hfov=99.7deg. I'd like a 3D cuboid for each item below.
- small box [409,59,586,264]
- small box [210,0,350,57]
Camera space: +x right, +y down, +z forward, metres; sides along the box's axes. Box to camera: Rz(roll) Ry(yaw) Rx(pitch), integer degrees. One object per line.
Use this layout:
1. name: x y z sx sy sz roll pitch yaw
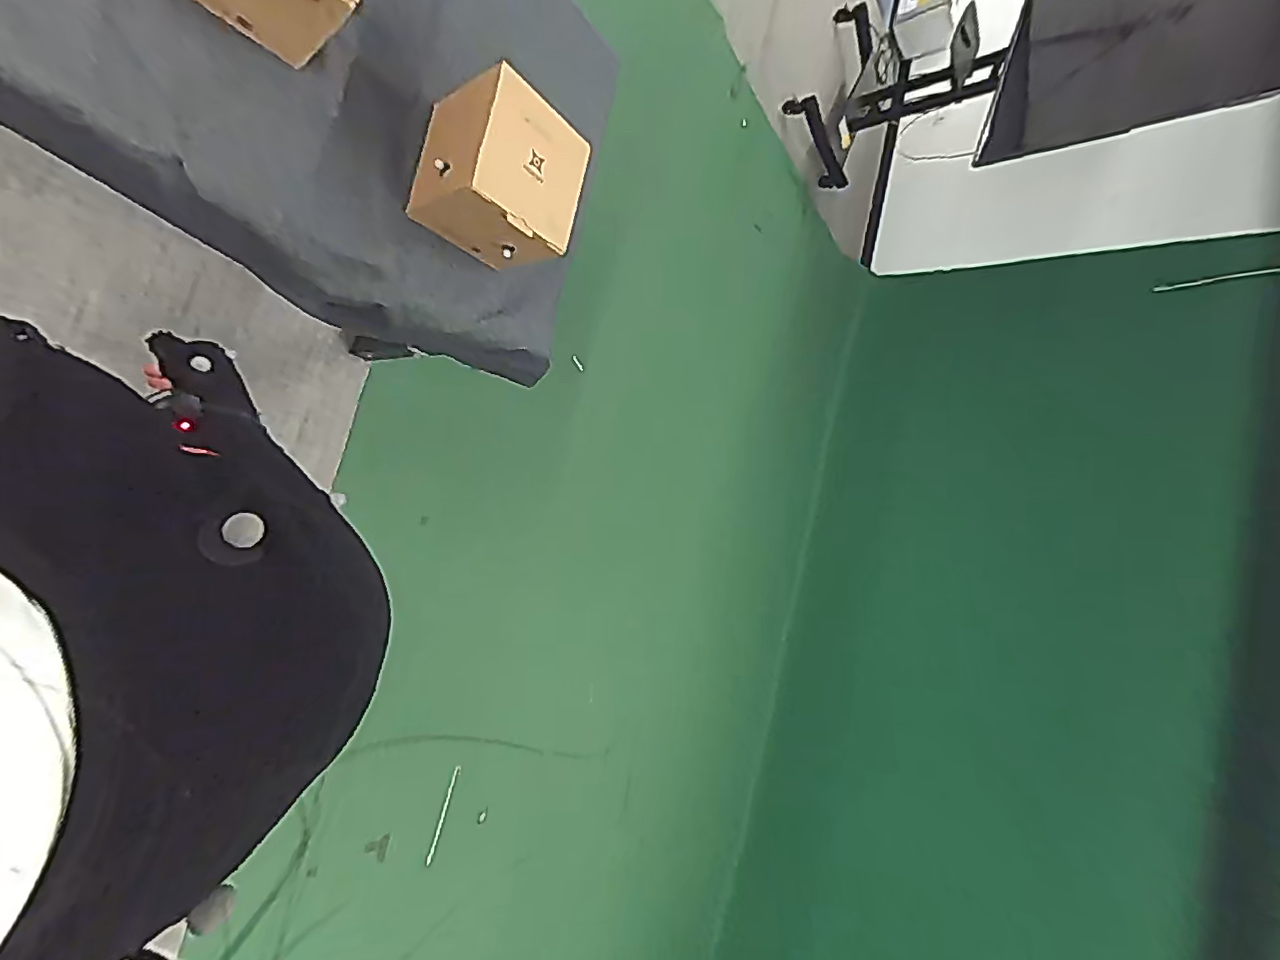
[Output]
1. small box: -0.207 -0.437 0.781 0.168 0.176 0.179 17 82 -51
2. small box: -0.385 -0.582 0.538 0.168 0.176 0.179 15 84 -51
